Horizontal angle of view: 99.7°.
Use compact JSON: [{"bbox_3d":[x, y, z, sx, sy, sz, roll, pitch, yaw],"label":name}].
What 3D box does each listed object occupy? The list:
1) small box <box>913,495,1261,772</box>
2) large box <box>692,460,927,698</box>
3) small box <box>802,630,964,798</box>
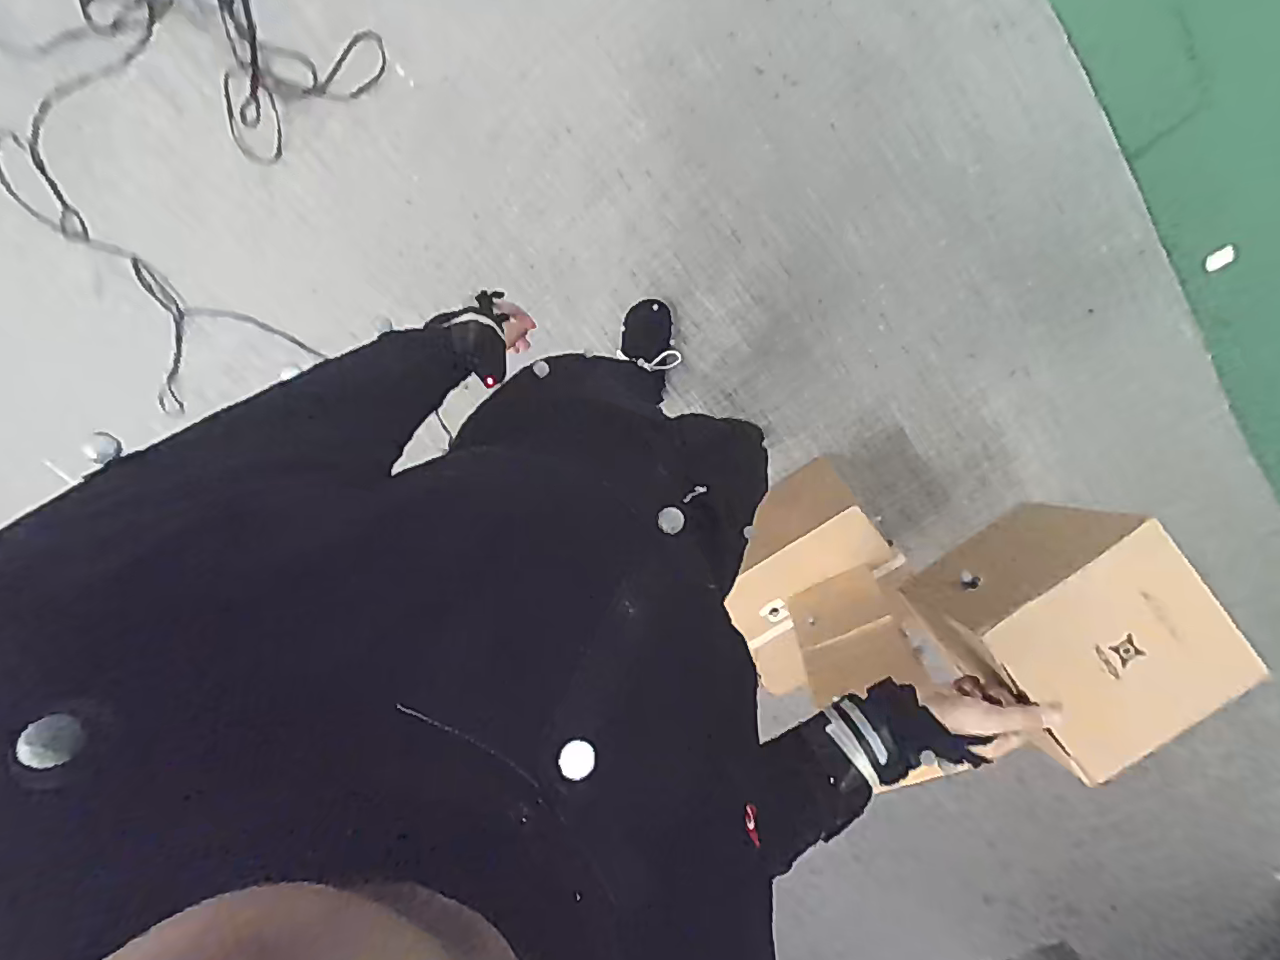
[{"bbox_3d":[0.405,0.132,0.534,0.179,0.176,0.168,-38,92,2],"label":"small box"},{"bbox_3d":[0.373,0.222,1.275,0.408,0.320,0.320,-36,103,19],"label":"large box"},{"bbox_3d":[0.390,0.380,0.896,0.179,0.176,0.168,-26,107,16],"label":"small box"}]
